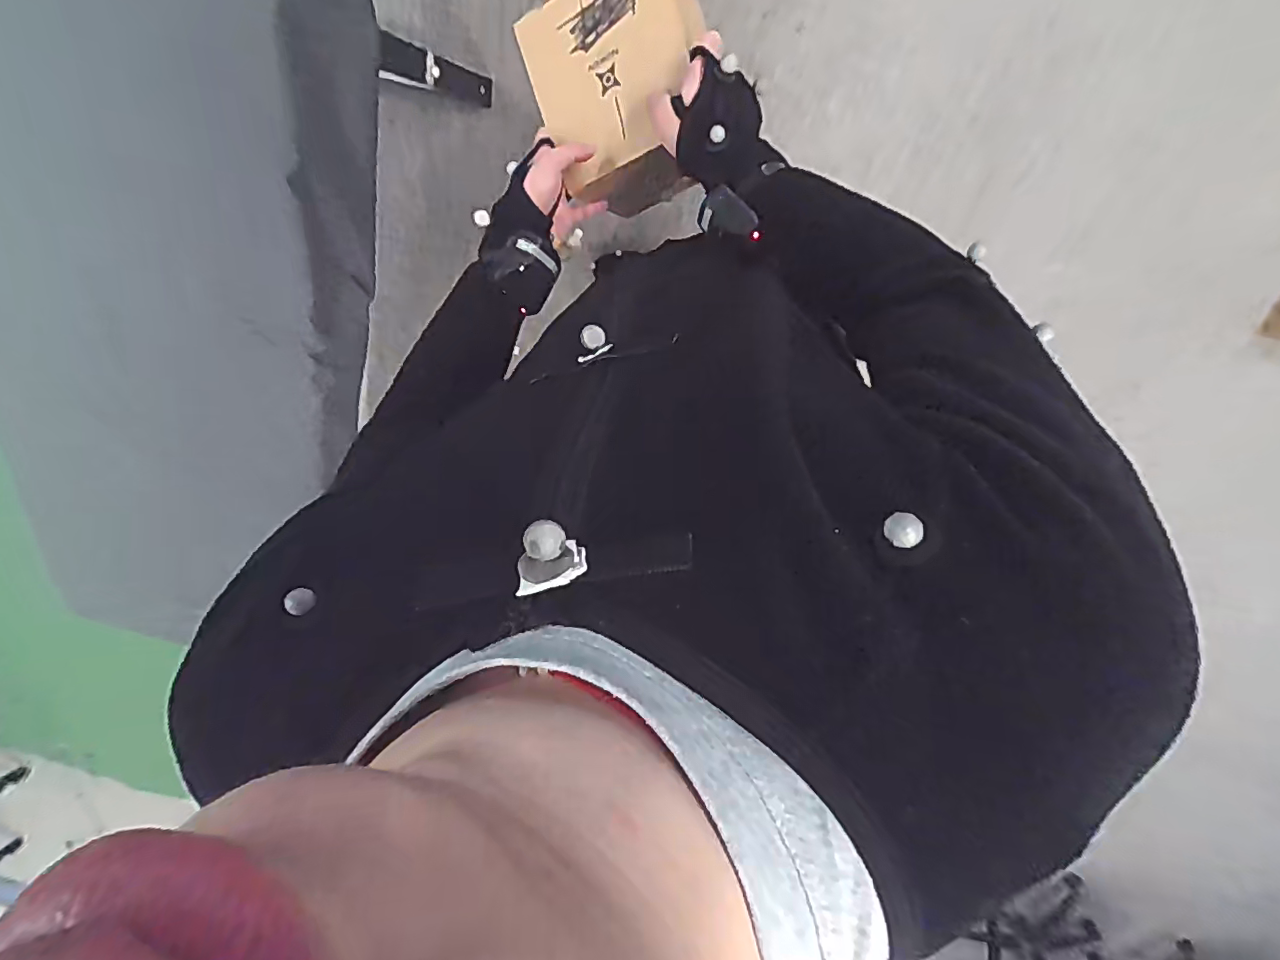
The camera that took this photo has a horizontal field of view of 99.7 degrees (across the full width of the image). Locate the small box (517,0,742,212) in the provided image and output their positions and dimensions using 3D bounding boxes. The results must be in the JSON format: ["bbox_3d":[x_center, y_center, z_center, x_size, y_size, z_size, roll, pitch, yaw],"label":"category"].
[{"bbox_3d":[0.000,-0.429,0.600,0.168,0.176,0.179,-14,100,27],"label":"small box"}]
